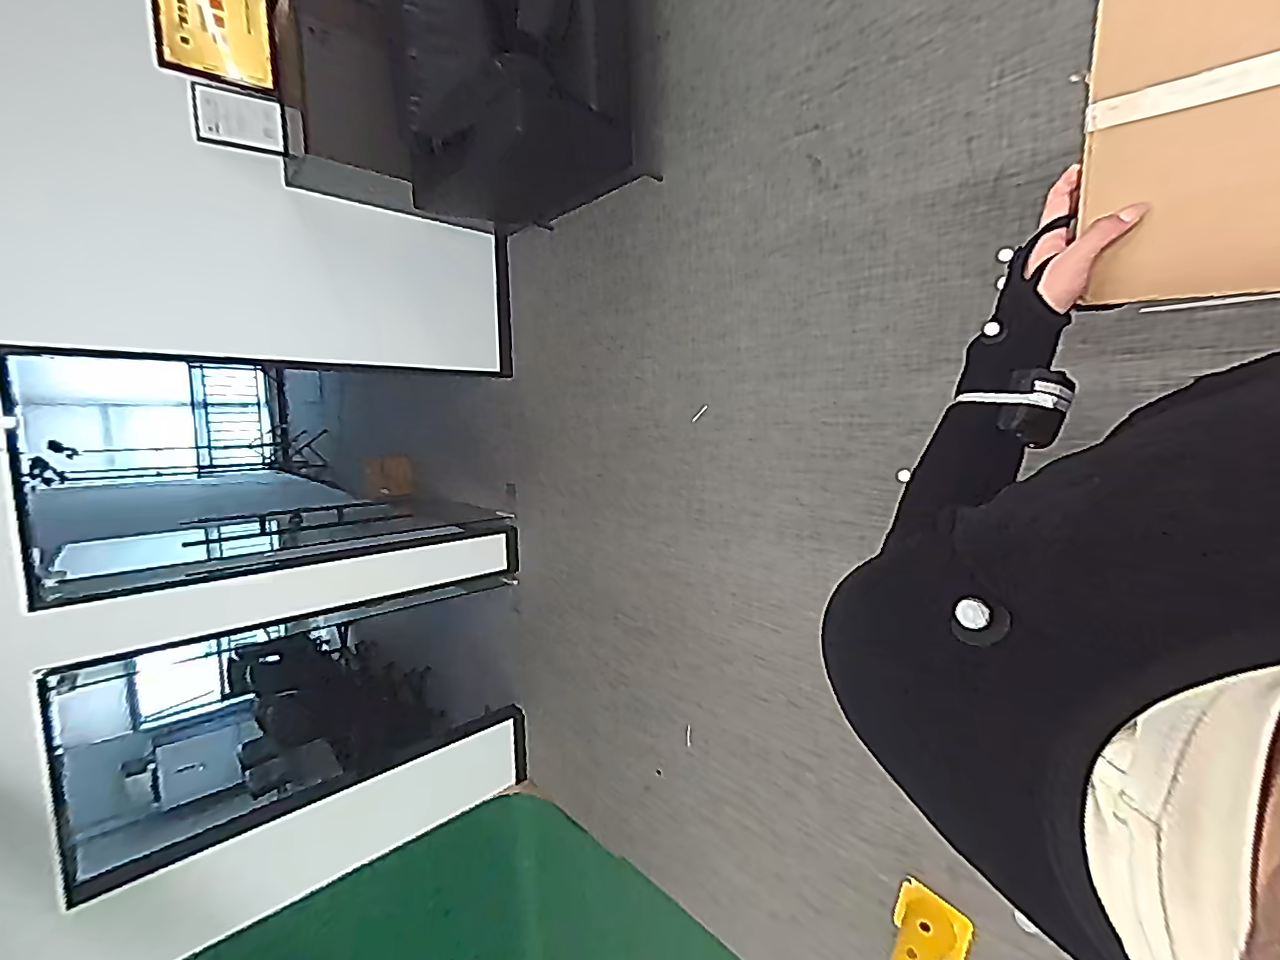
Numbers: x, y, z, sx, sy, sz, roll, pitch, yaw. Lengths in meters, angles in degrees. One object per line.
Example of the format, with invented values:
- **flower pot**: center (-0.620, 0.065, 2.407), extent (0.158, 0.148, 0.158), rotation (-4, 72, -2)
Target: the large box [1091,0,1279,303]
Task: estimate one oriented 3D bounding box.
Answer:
- **large box**: center (0.641, -0.334, 0.415), extent (0.408, 0.320, 0.320), rotation (11, 117, 47)
